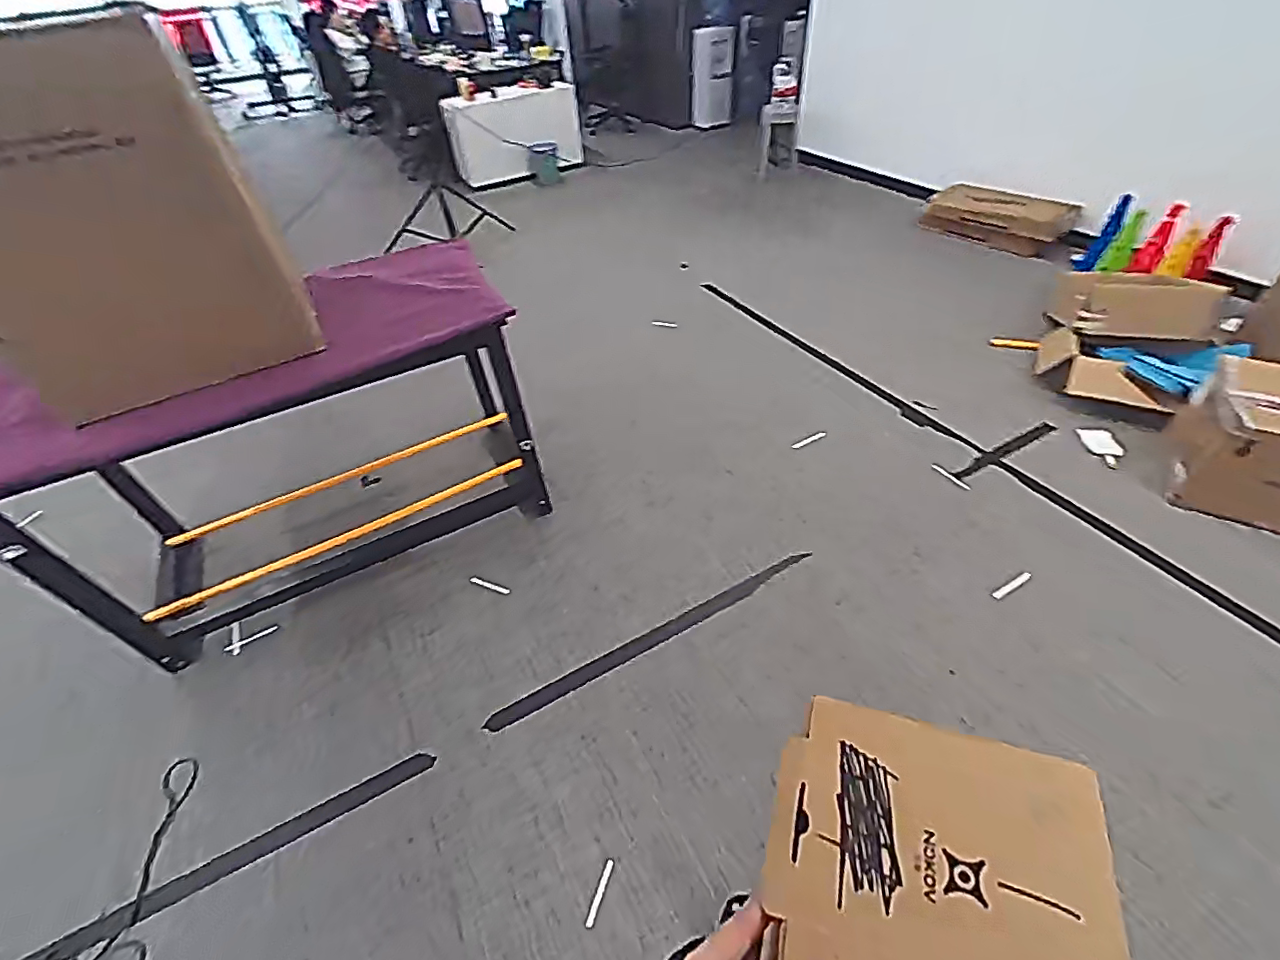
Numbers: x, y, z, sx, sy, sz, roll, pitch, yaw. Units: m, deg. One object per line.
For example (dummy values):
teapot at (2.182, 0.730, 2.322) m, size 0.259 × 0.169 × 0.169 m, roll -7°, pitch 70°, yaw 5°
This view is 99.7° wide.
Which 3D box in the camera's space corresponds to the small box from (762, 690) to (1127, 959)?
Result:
small box at (0.186, 0.275, 0.376) m, size 0.179 × 0.176 × 0.168 m, roll 10°, pitch 52°, yaw 15°
